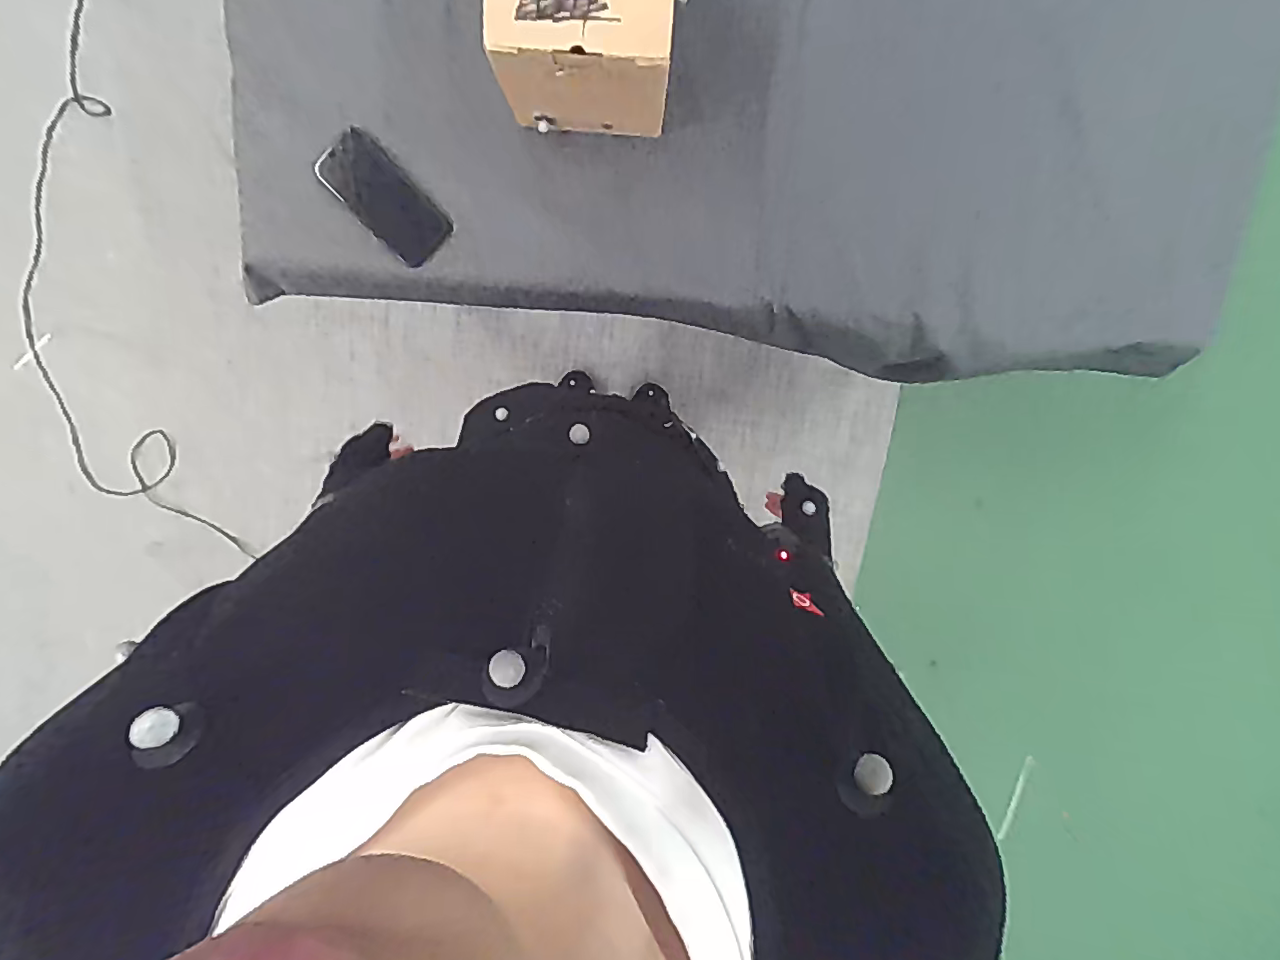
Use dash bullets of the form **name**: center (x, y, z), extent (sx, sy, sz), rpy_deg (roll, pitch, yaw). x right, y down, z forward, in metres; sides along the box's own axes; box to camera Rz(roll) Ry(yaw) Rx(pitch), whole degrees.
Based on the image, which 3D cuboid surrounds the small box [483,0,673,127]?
- **small box**: center (-0.050, -0.478, 0.531), extent (0.168, 0.176, 0.179), rpy_deg (4, 102, -2)
